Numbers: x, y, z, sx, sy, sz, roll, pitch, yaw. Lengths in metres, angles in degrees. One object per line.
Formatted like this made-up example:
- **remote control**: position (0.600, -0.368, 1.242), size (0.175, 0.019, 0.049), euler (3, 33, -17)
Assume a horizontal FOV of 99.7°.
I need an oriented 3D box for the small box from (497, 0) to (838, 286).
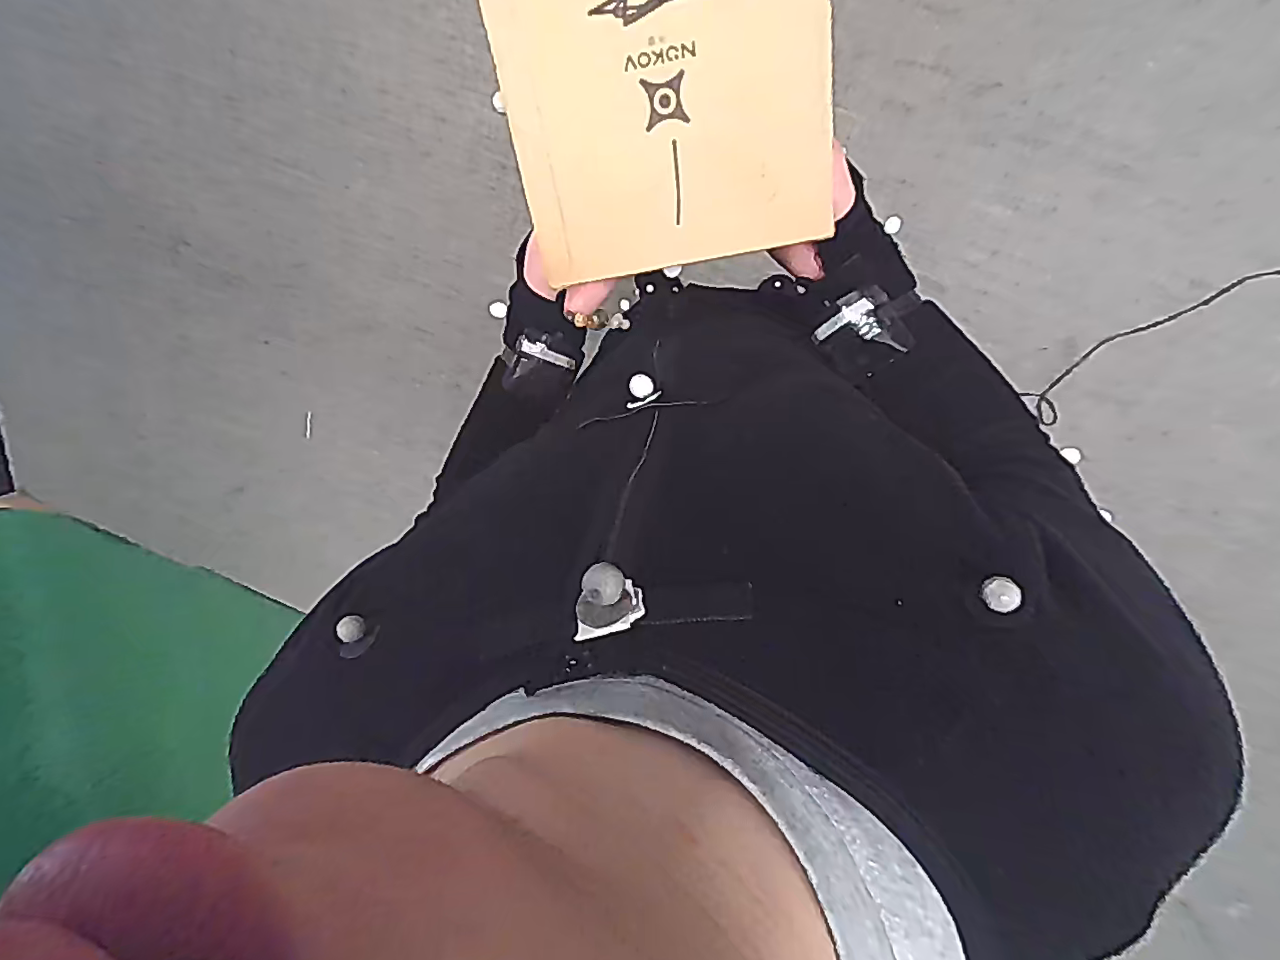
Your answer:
- **small box**: position (0.017, -0.235, 0.346), size (0.168, 0.176, 0.179), euler (-8, 117, 5)
